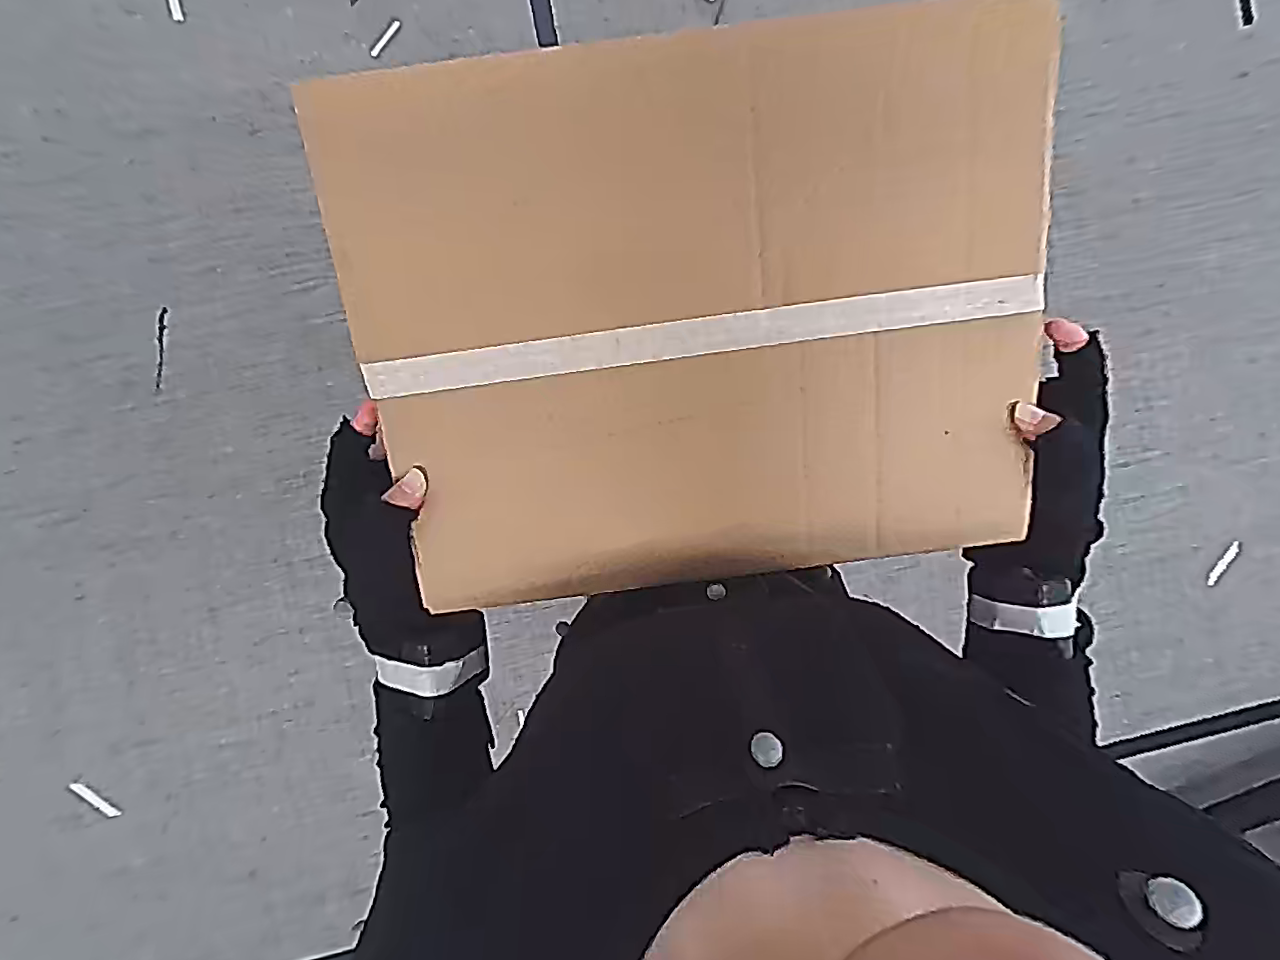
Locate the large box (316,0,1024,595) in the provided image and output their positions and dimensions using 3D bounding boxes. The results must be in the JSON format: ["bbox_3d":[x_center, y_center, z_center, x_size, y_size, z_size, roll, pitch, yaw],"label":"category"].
[{"bbox_3d":[0.028,-0.129,0.478,0.408,0.320,0.320,-7,106,0],"label":"large box"}]
